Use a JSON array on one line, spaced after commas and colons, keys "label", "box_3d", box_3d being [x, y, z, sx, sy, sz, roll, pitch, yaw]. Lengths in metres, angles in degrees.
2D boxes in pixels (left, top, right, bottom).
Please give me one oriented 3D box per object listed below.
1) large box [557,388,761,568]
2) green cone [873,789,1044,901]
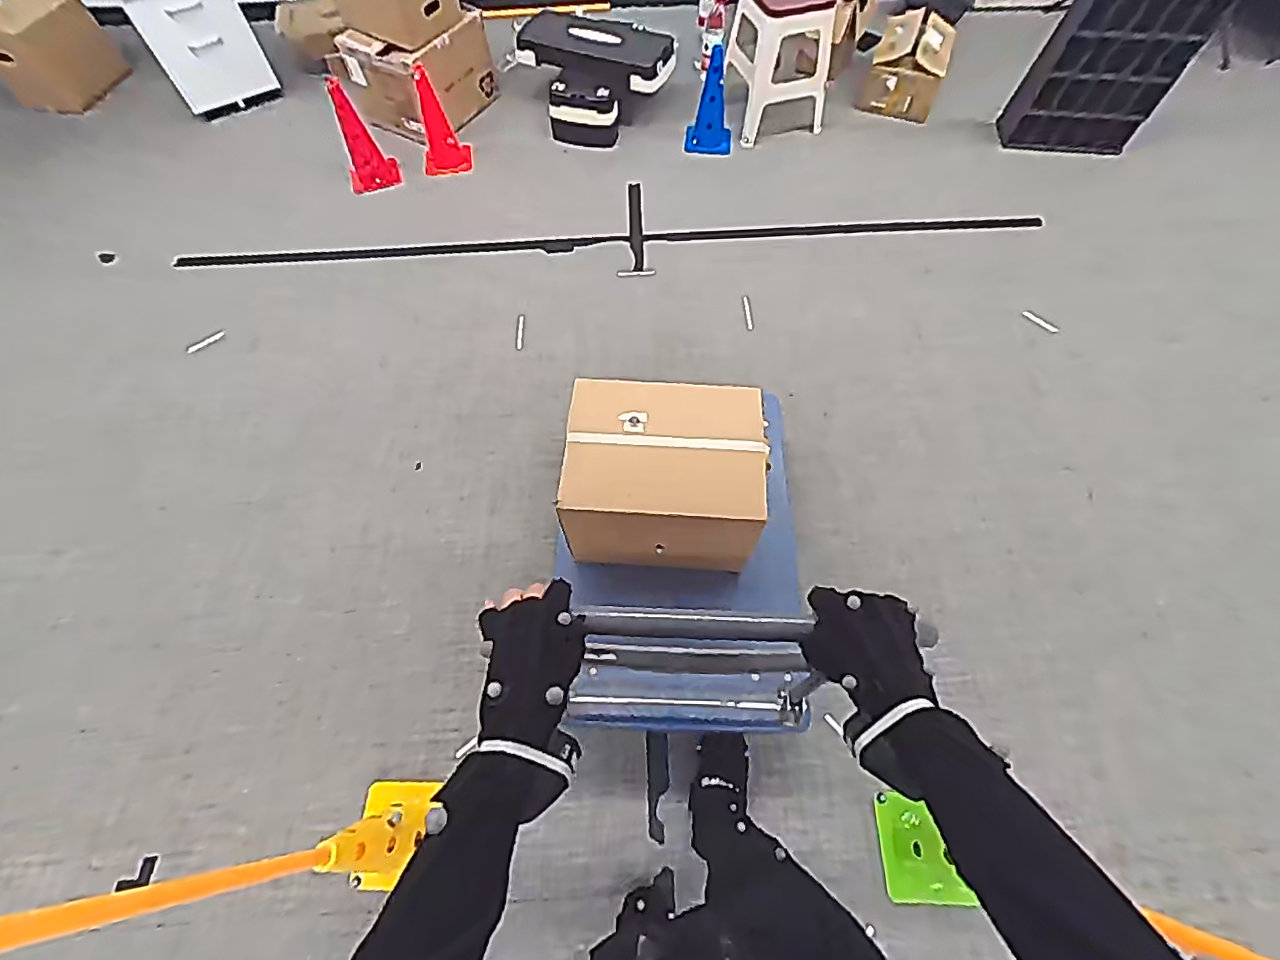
[{"label": "large box", "box_3d": [0.048, 0.006, 1.242, 0.408, 0.320, 0.320, 3, 62, 3]}, {"label": "green cone", "box_3d": [0.621, 0.707, 1.022, 0.202, 0.368, 0.200, 1, 62, 0]}]
